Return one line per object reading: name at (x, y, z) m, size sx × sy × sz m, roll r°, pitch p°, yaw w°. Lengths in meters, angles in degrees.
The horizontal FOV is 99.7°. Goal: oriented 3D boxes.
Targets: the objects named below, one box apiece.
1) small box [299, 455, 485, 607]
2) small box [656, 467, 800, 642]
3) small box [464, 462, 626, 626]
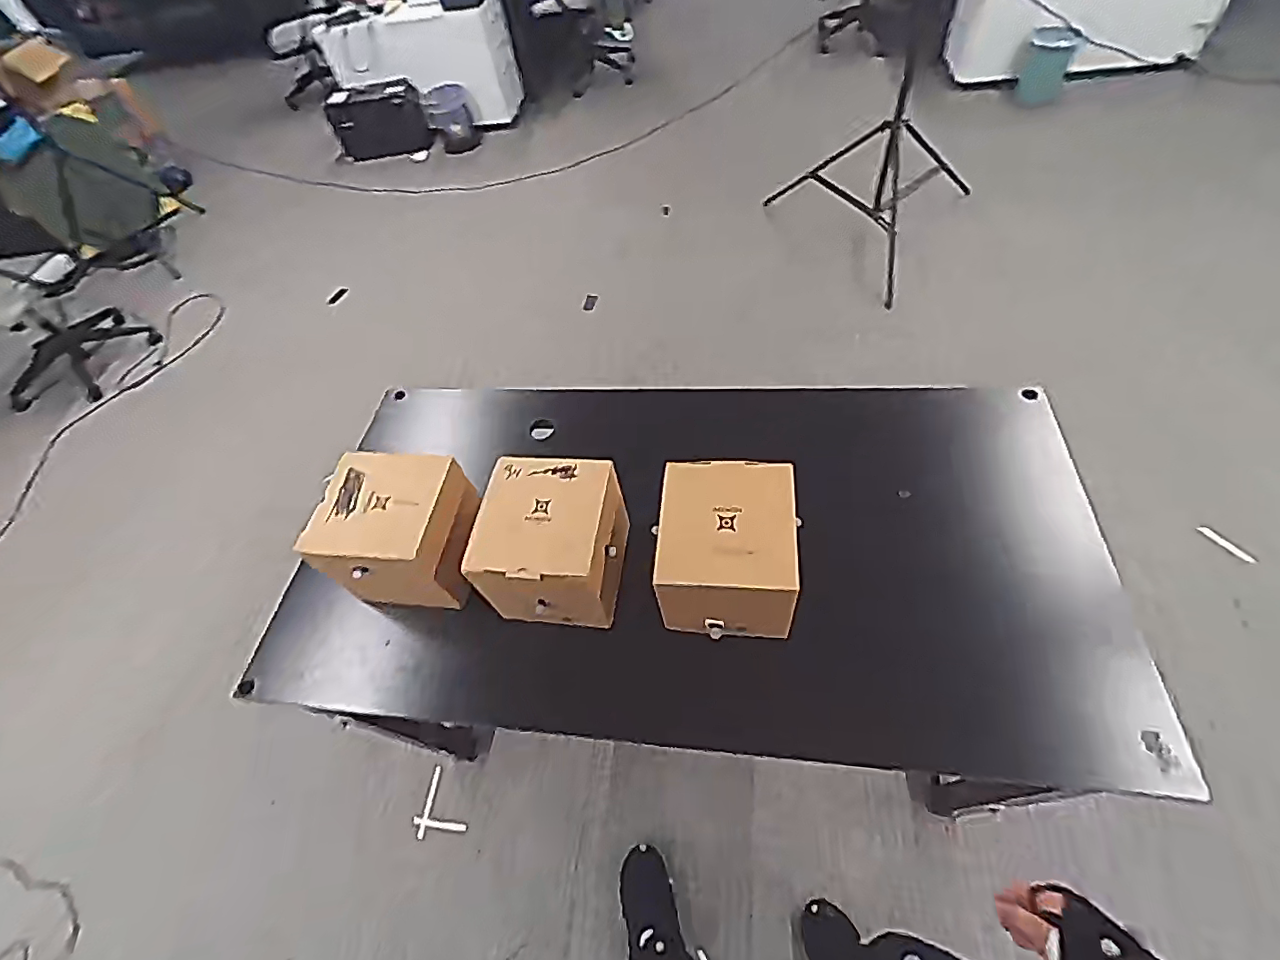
small box at (-0.346, 0.080, 0.805) m, size 0.179 × 0.176 × 0.168 m, roll 2°, pitch 56°, yaw 9°
small box at (0.118, 0.100, 0.725) m, size 0.168 × 0.176 × 0.179 m, roll 0°, pitch 56°, yaw 10°
small box at (-0.118, 0.094, 0.762) m, size 0.168 × 0.176 × 0.179 m, roll 2°, pitch 56°, yaw 9°
